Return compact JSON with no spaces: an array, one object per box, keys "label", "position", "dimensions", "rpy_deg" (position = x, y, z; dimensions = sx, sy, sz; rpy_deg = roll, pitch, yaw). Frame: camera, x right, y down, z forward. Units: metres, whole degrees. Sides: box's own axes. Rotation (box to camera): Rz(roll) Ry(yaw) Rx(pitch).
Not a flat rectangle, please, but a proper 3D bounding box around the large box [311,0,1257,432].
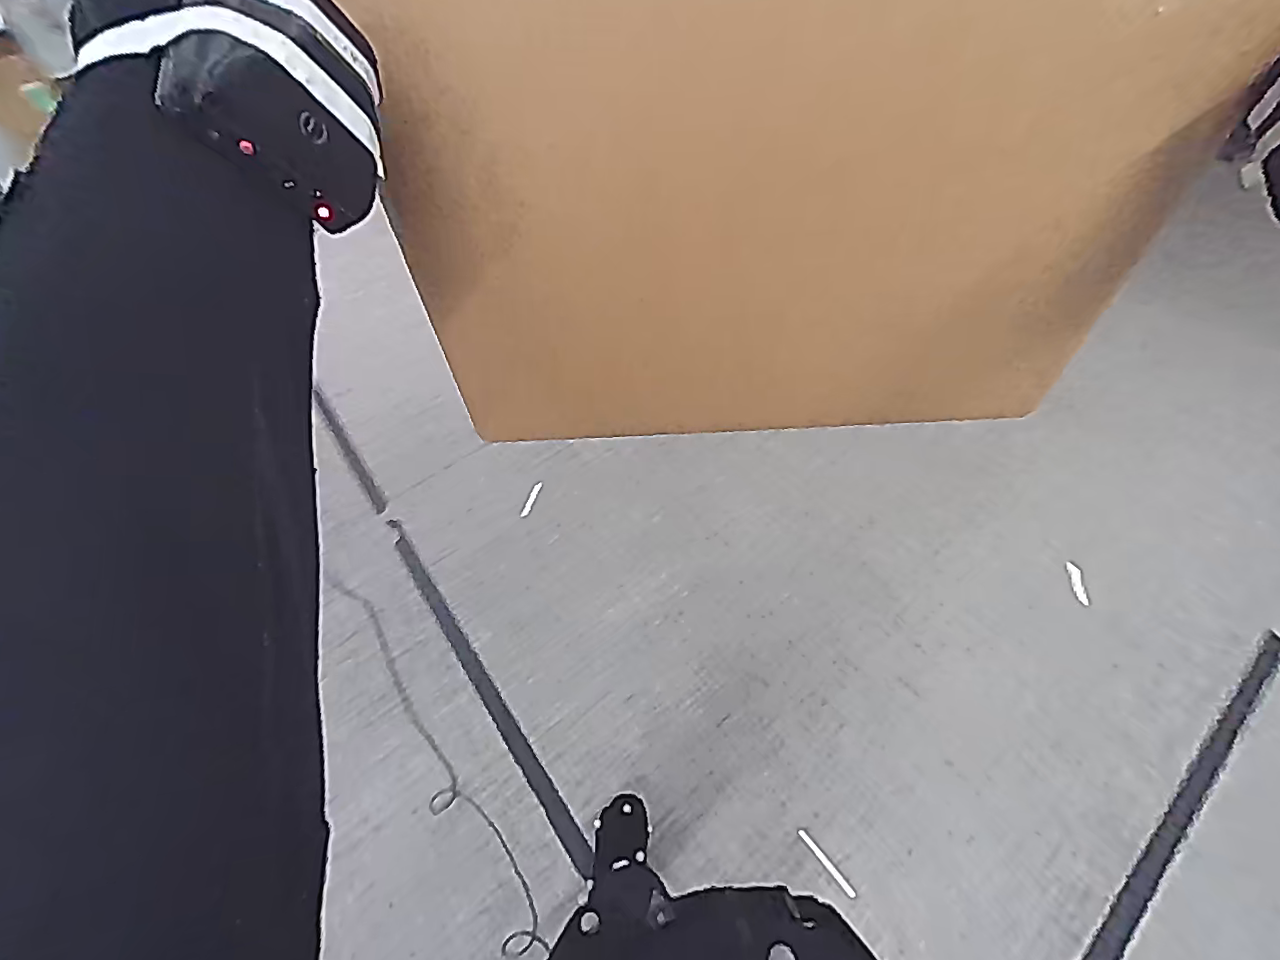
[{"label":"large box","position":[0.060,-0.255,0.377],"dimensions":[0.408,0.320,0.320],"rpy_deg":[-3,51,0]}]
